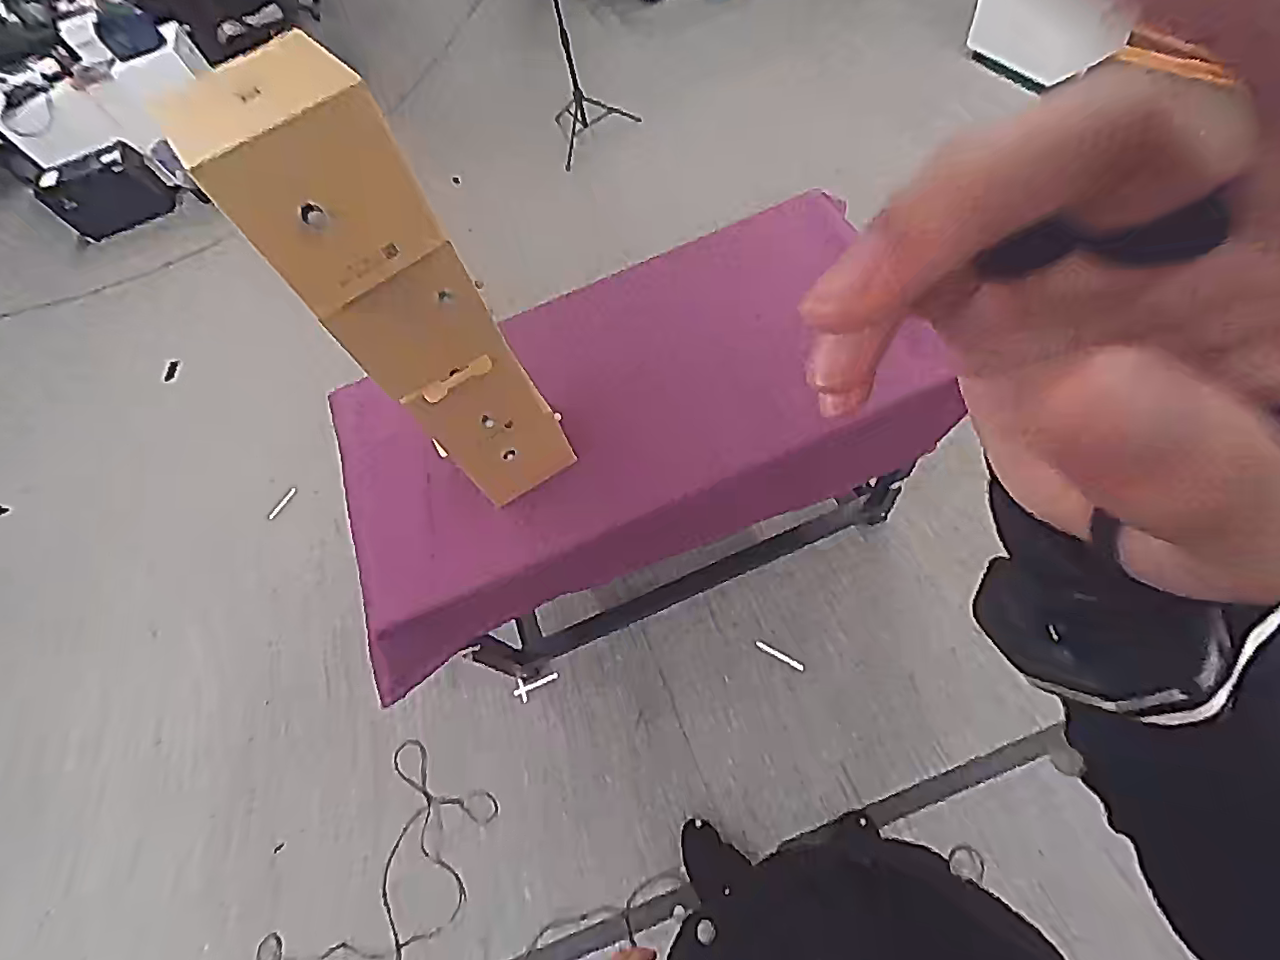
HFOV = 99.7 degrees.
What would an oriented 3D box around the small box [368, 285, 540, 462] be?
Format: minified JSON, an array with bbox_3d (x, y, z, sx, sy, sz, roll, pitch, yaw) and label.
[{"bbox_3d":[-0.285,-0.161,0.850,0.168,0.176,0.179,-33,61,-7],"label":"small box"}]

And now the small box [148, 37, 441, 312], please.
[{"bbox_3d":[-0.341,-0.305,0.560,0.168,0.176,0.179,-39,61,-12],"label":"small box"}]

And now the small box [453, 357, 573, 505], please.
[{"bbox_3d":[-0.247,-0.083,0.990,0.179,0.176,0.168,-32,61,-8],"label":"small box"}]
